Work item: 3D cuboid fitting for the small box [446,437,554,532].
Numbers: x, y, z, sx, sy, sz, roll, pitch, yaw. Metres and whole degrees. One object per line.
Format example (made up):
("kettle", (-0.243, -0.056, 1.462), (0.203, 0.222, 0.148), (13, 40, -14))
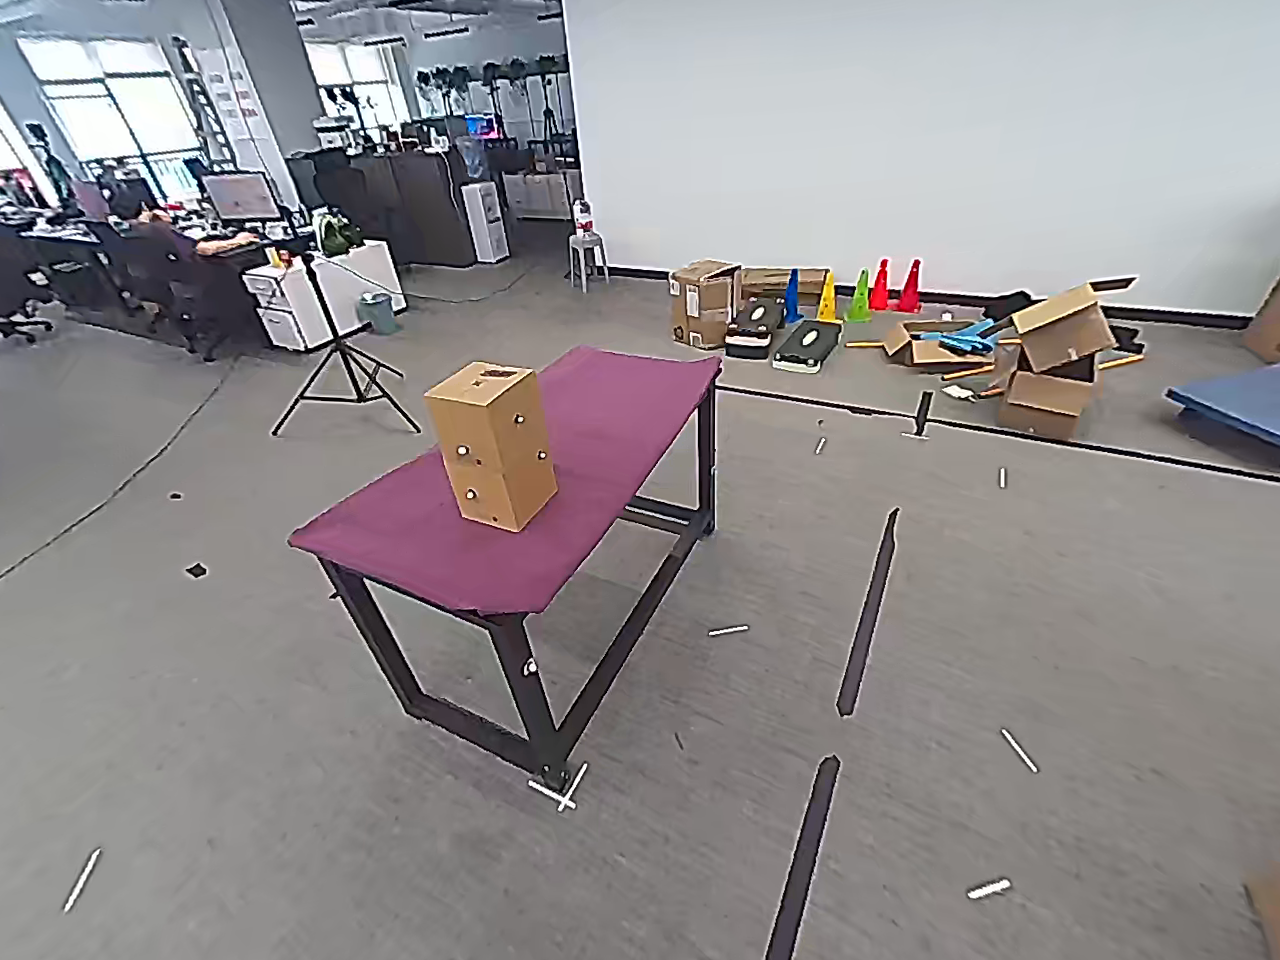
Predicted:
("small box", (-0.322, 0.000, 1.284), (0.168, 0.176, 0.179), (12, 38, 22))

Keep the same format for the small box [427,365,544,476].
("small box", (-0.328, -0.133, 1.188), (0.168, 0.176, 0.179), (11, 39, 22))
